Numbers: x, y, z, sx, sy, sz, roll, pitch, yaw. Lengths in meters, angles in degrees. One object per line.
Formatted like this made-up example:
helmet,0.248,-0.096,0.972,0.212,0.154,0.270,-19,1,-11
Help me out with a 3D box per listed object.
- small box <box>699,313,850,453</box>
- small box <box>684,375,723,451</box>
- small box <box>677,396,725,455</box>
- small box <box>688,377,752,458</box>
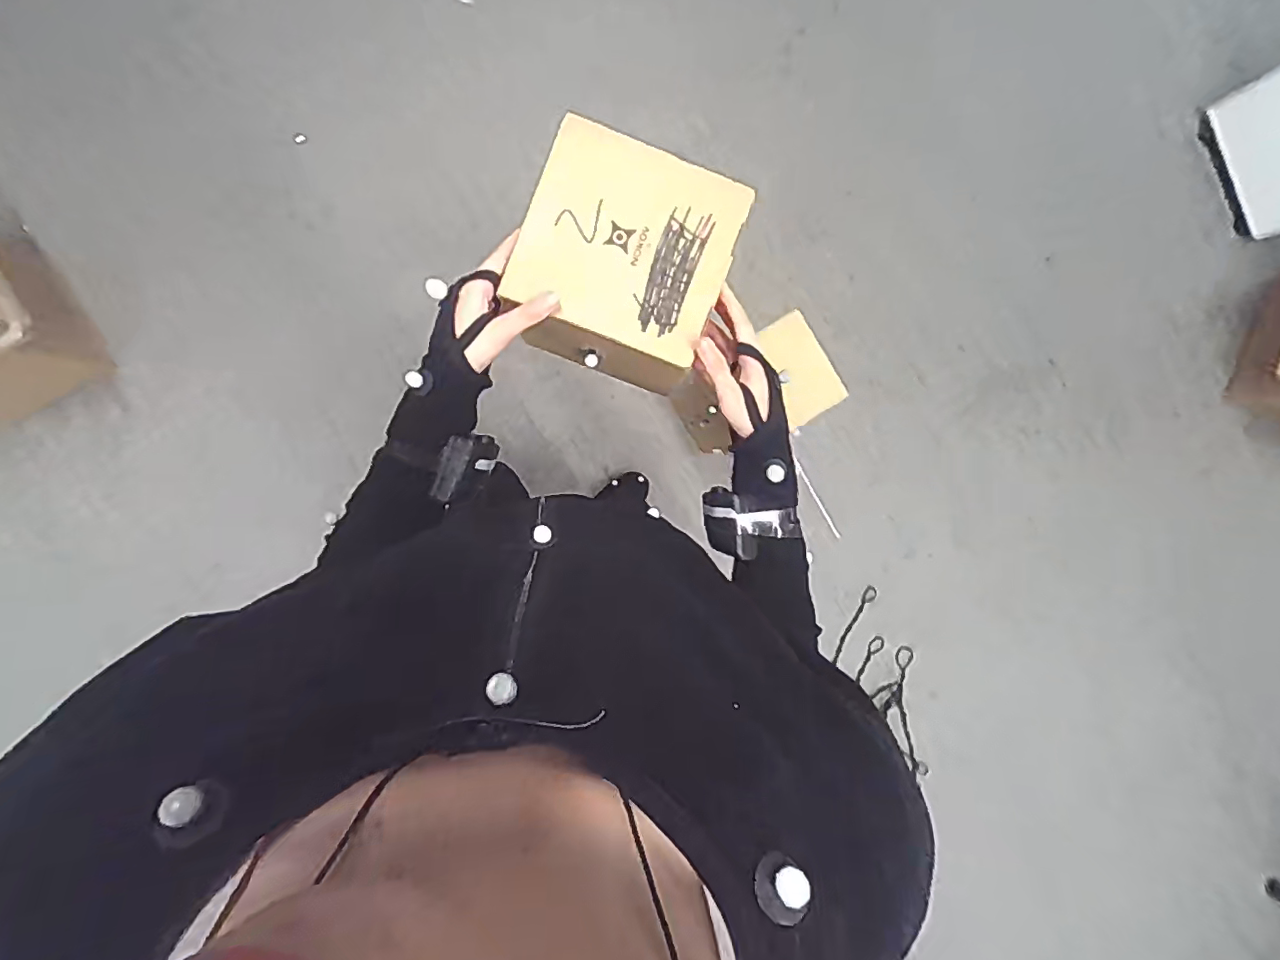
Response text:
small box,0.223,-0.160,0.946,0.179,0.176,0.168,-32,93,-1
small box,0.219,-0.179,1.273,0.168,0.176,0.179,-30,93,-1
small box,0.213,-0.175,1.436,0.168,0.176,0.179,-30,94,-2
small box,0.218,-0.162,1.109,0.168,0.176,0.179,-32,94,-2
